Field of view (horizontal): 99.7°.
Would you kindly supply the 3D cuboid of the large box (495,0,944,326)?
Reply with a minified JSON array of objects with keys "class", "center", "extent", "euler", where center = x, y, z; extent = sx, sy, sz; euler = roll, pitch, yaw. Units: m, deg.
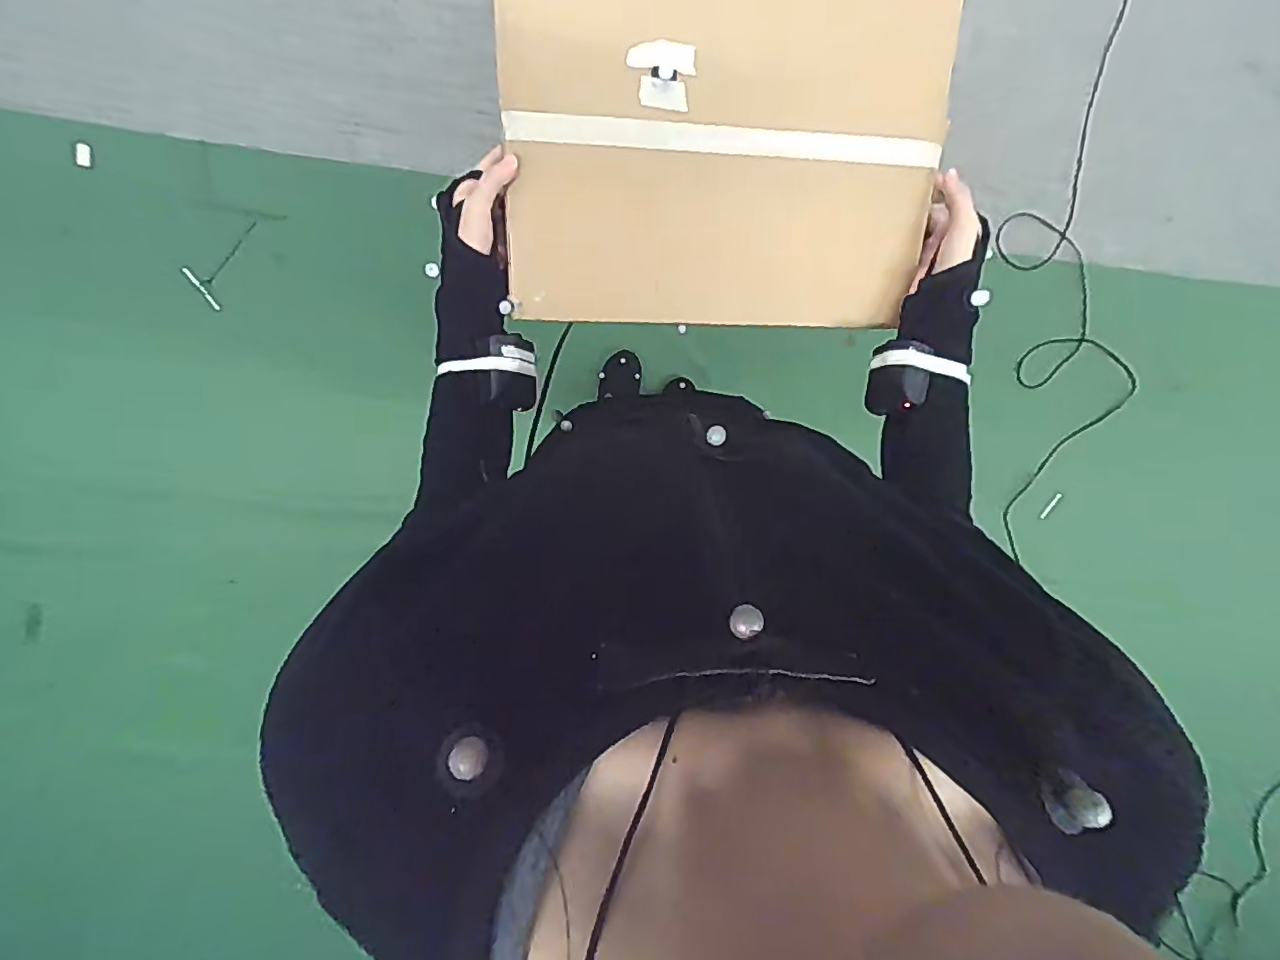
[{"class":"large box","center":[0.057,-0.357,0.643],"extent":[0.408,0.320,0.320],"euler":[-1,108,-8]}]
